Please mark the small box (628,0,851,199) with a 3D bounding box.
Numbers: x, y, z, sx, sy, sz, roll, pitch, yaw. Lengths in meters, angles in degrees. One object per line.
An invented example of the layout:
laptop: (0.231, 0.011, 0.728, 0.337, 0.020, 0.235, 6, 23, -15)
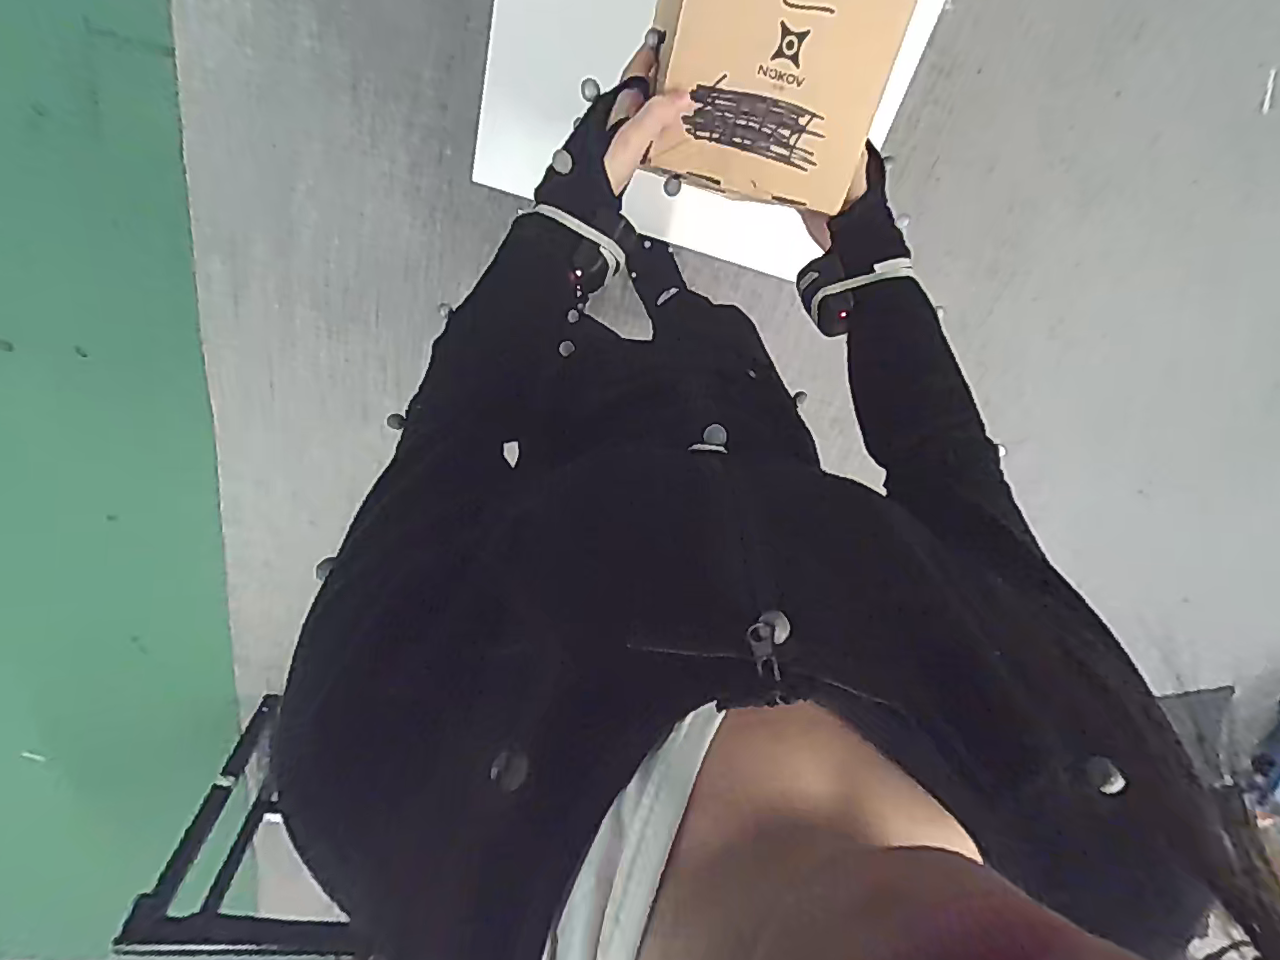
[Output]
small box: (0.089, -0.428, 0.591, 0.168, 0.176, 0.179, 11, 117, -13)
